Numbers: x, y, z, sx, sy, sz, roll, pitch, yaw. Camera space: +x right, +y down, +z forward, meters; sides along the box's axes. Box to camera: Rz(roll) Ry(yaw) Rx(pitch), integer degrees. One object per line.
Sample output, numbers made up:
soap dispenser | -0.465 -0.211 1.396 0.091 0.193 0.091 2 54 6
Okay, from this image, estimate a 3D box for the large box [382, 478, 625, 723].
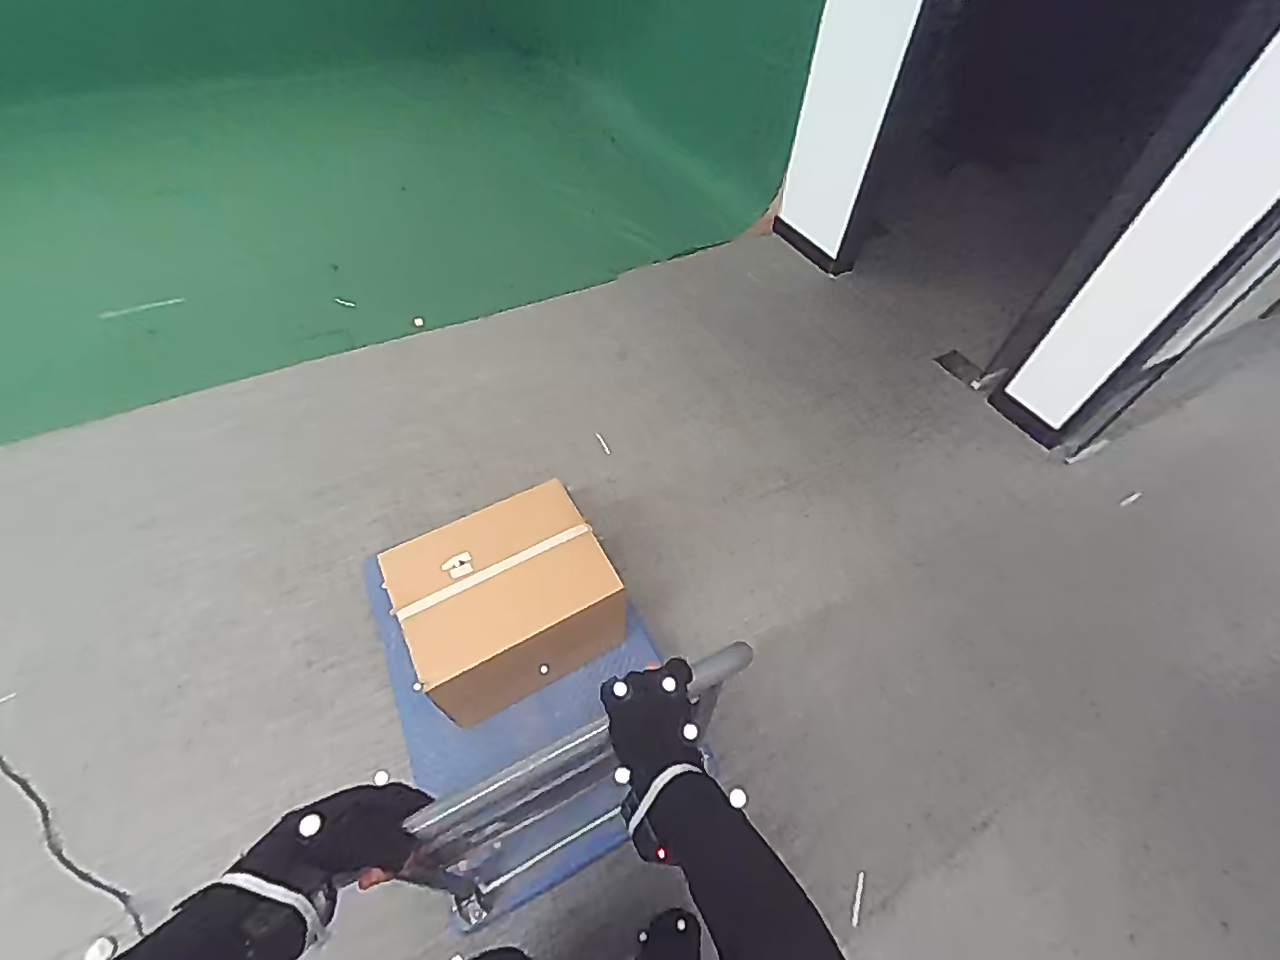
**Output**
large box | -0.280 0.267 1.202 0.408 0.320 0.320 -25 58 -19
